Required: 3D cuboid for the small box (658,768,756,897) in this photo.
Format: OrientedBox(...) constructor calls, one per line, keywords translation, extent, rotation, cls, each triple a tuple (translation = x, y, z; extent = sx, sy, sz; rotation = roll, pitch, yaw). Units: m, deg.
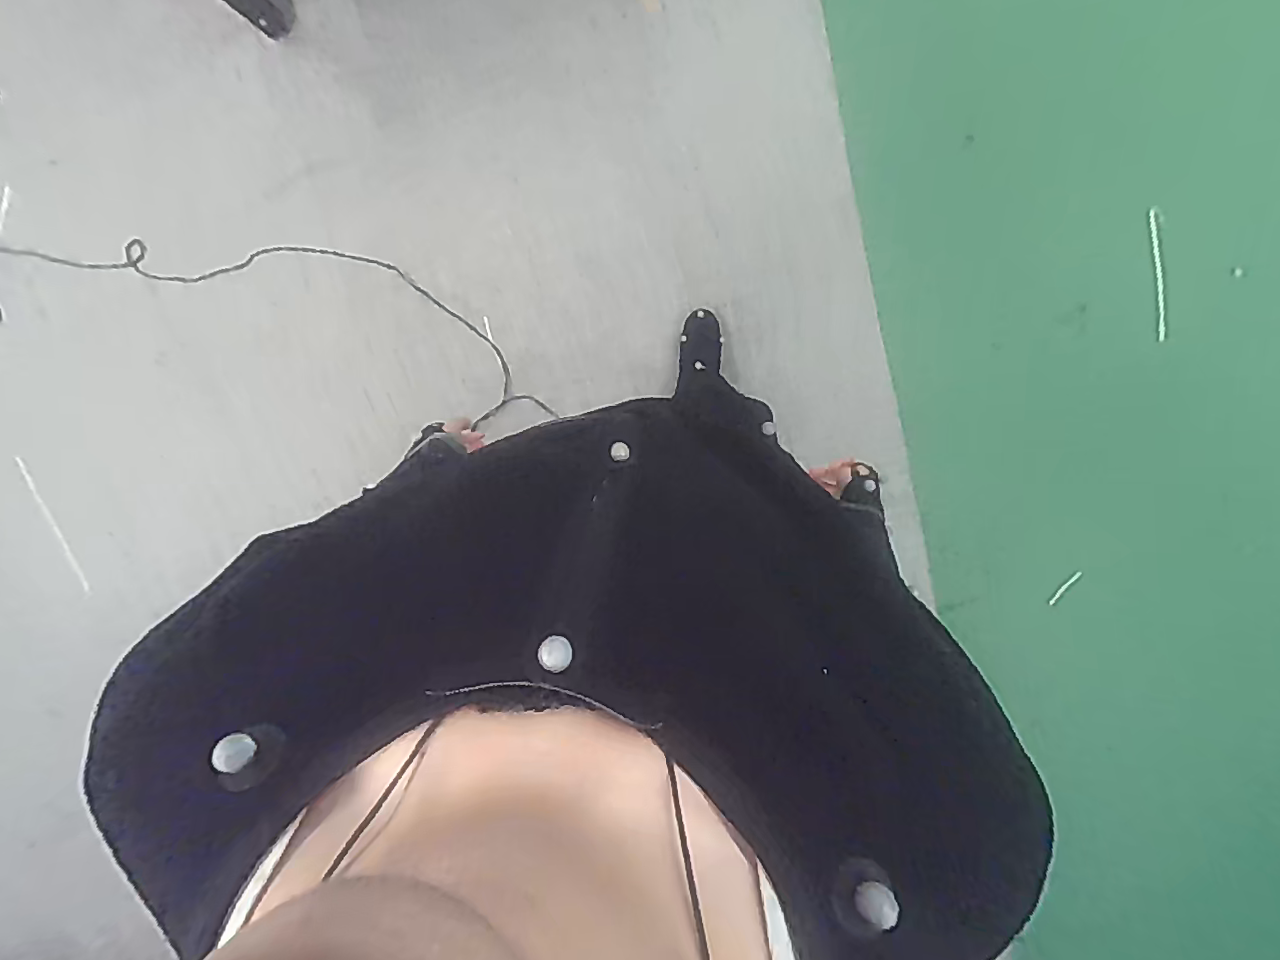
OrientedBox(translation=(0.147, 0.791, 1.230), extent=(0.179, 0.176, 0.168), rotation=(-17, 100, 8), cls="small box")
